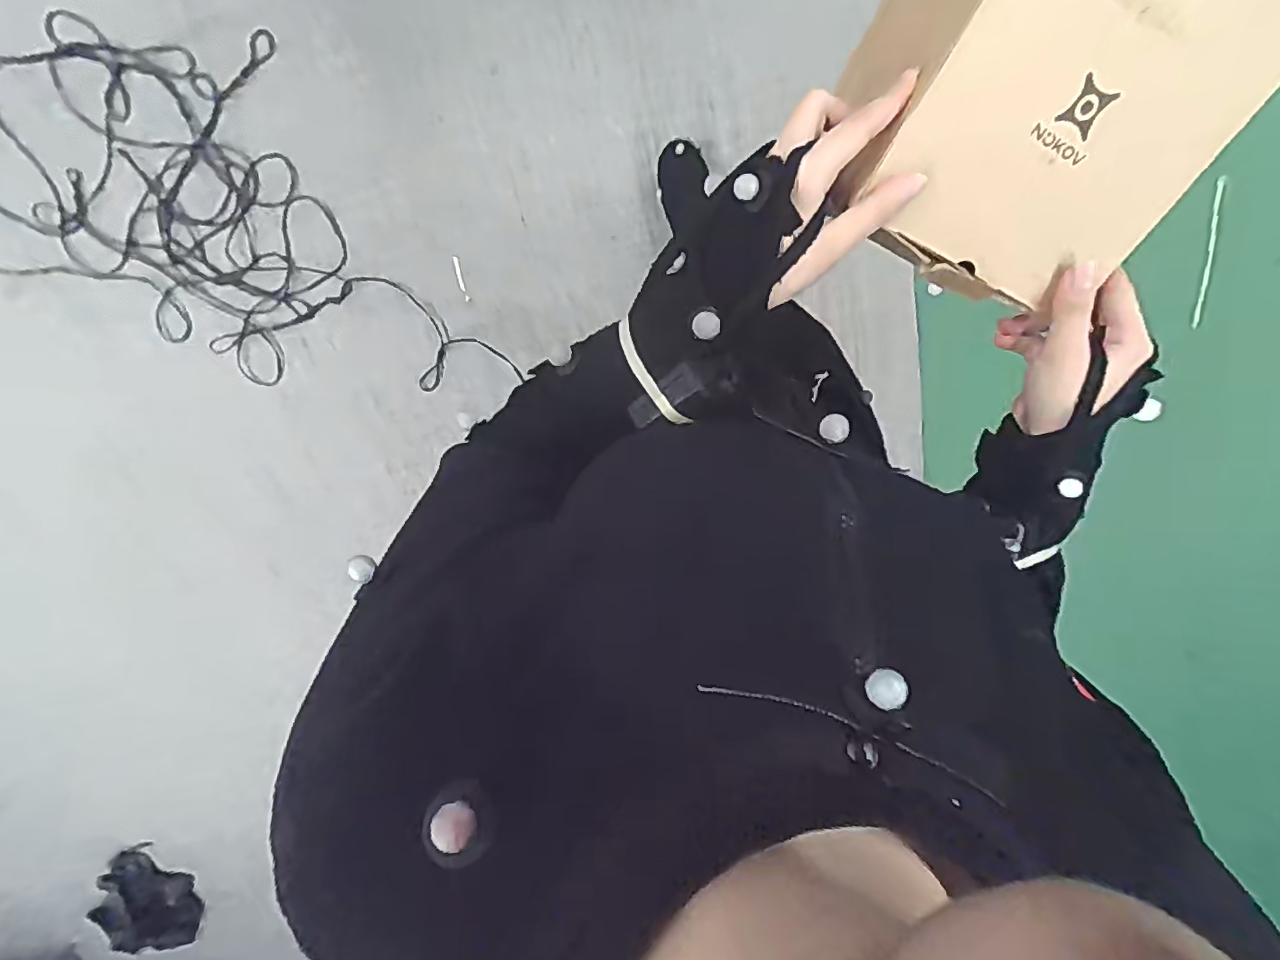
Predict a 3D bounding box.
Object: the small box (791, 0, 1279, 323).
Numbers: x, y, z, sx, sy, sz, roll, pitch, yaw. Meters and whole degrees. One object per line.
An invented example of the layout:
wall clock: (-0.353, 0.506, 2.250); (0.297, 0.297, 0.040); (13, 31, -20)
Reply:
small box: (0.219, -0.233, 0.349); (0.168, 0.176, 0.179); (20, 118, -14)
